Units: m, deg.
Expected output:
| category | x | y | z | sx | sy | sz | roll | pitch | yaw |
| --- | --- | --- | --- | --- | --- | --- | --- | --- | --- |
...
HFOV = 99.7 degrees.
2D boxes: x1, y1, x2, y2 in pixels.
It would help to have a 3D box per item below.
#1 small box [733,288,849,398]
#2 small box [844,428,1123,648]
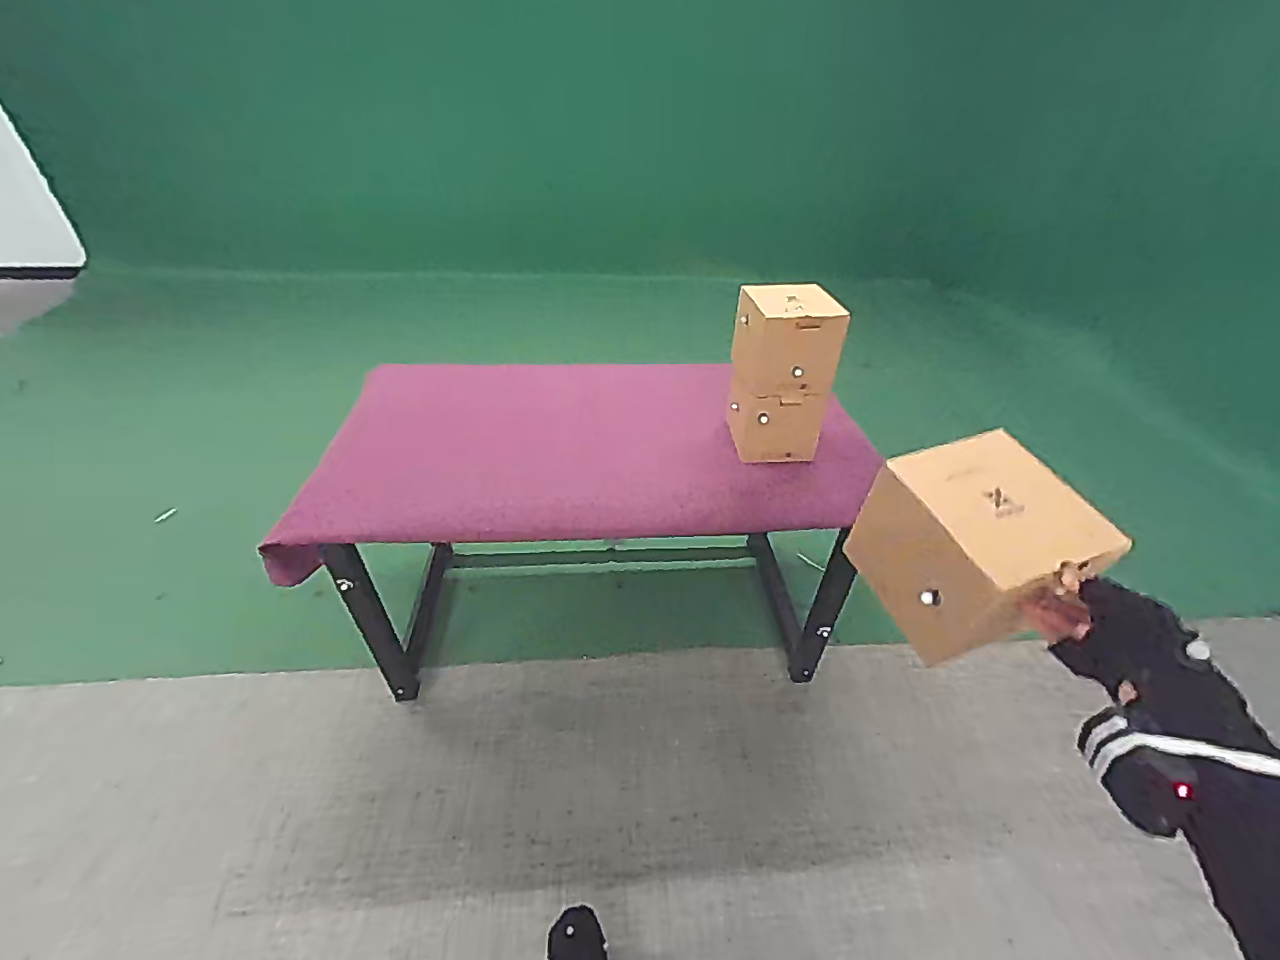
| category | x | y | z | sx | sy | sz | roll | pitch | yaw |
| --- | --- | --- | --- | --- | --- | --- | --- | --- | --- |
| small box | 0.298 | -0.284 | 1.114 | 0.168 | 0.176 | 0.179 | -4 | 40 | -6 |
| small box | 0.369 | 0.072 | 0.621 | 0.168 | 0.176 | 0.179 | -14 | 51 | -13 |
